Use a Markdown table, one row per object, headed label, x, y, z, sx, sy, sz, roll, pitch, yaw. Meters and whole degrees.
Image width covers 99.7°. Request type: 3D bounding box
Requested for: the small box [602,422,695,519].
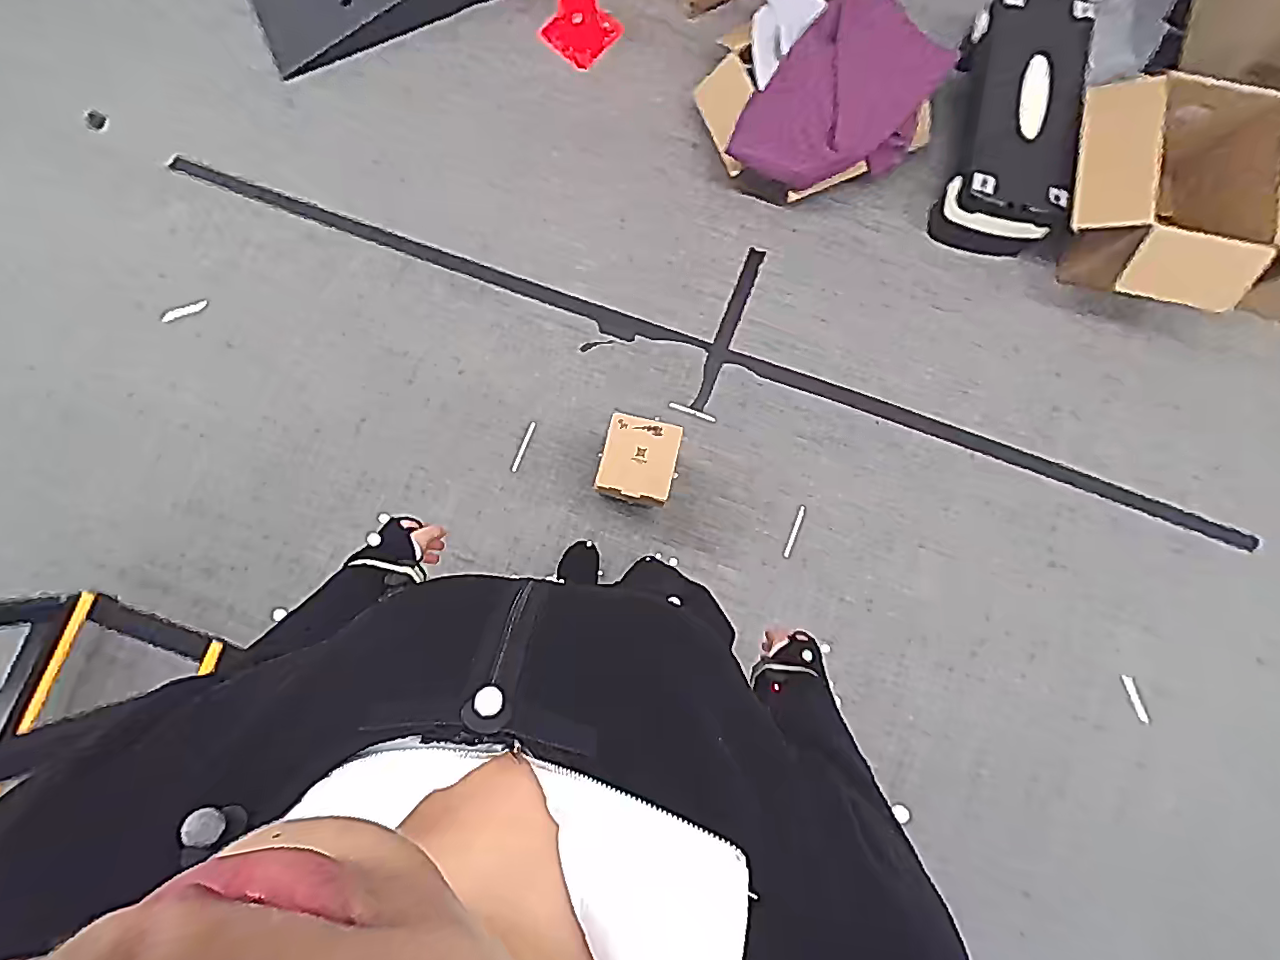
| label | x | y | z | sx | sy | sz | roll | pitch | yaw |
| --- | --- | --- | --- | --- | --- | --- | --- | --- | --- |
| small box | 0.021 | -0.014 | 1.208 | 0.168 | 0.176 | 0.179 | 13 | 84 | 2 |
